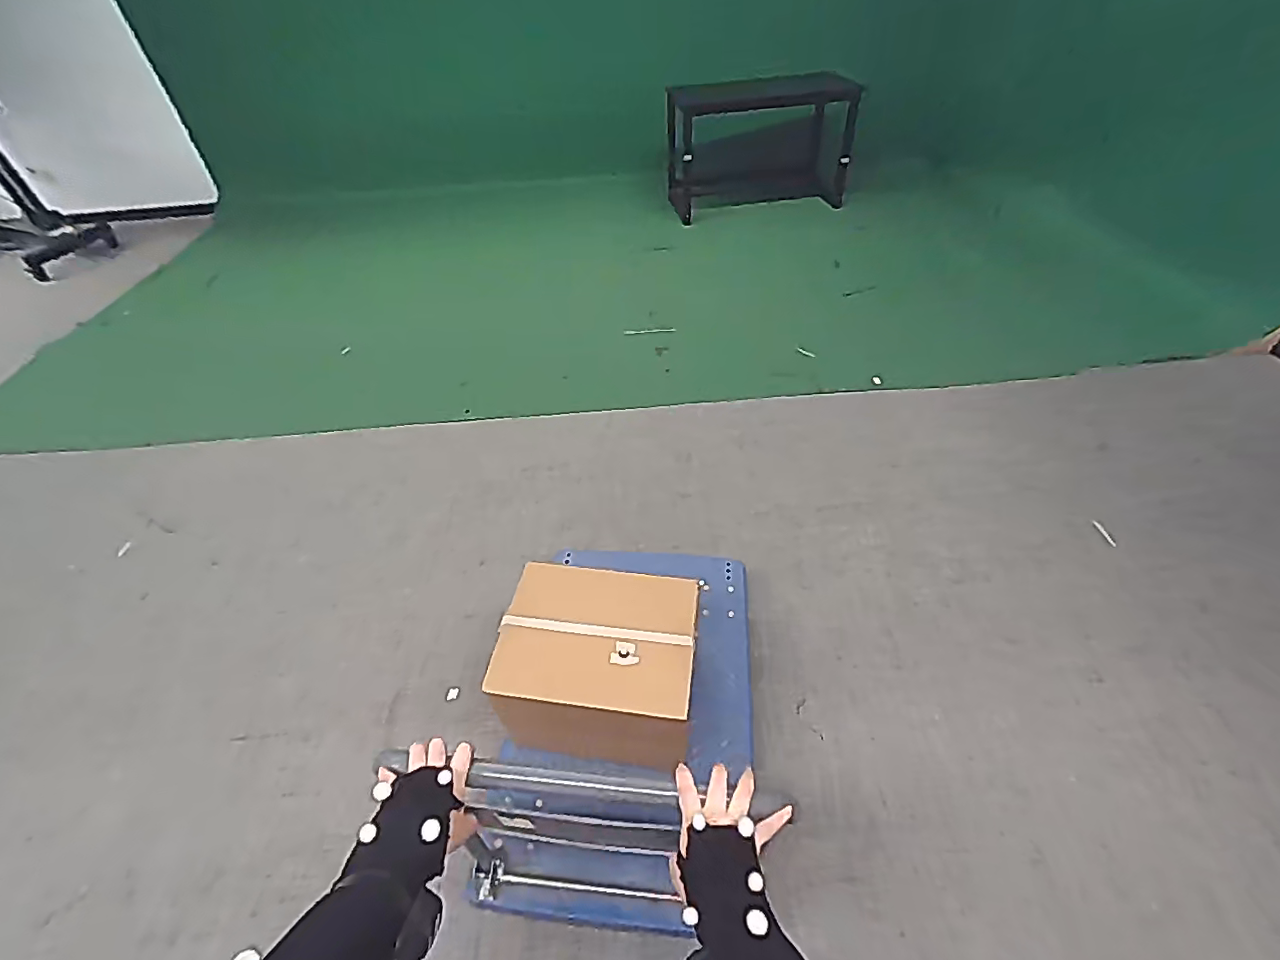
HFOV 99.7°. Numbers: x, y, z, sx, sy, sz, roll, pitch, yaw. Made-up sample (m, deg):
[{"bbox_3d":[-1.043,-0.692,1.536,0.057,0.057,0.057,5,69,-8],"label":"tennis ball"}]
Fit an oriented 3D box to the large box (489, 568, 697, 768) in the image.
[{"bbox_3d":[-0.086,0.434,1.255,0.408,0.320,0.320,5,45,6],"label":"large box"}]
